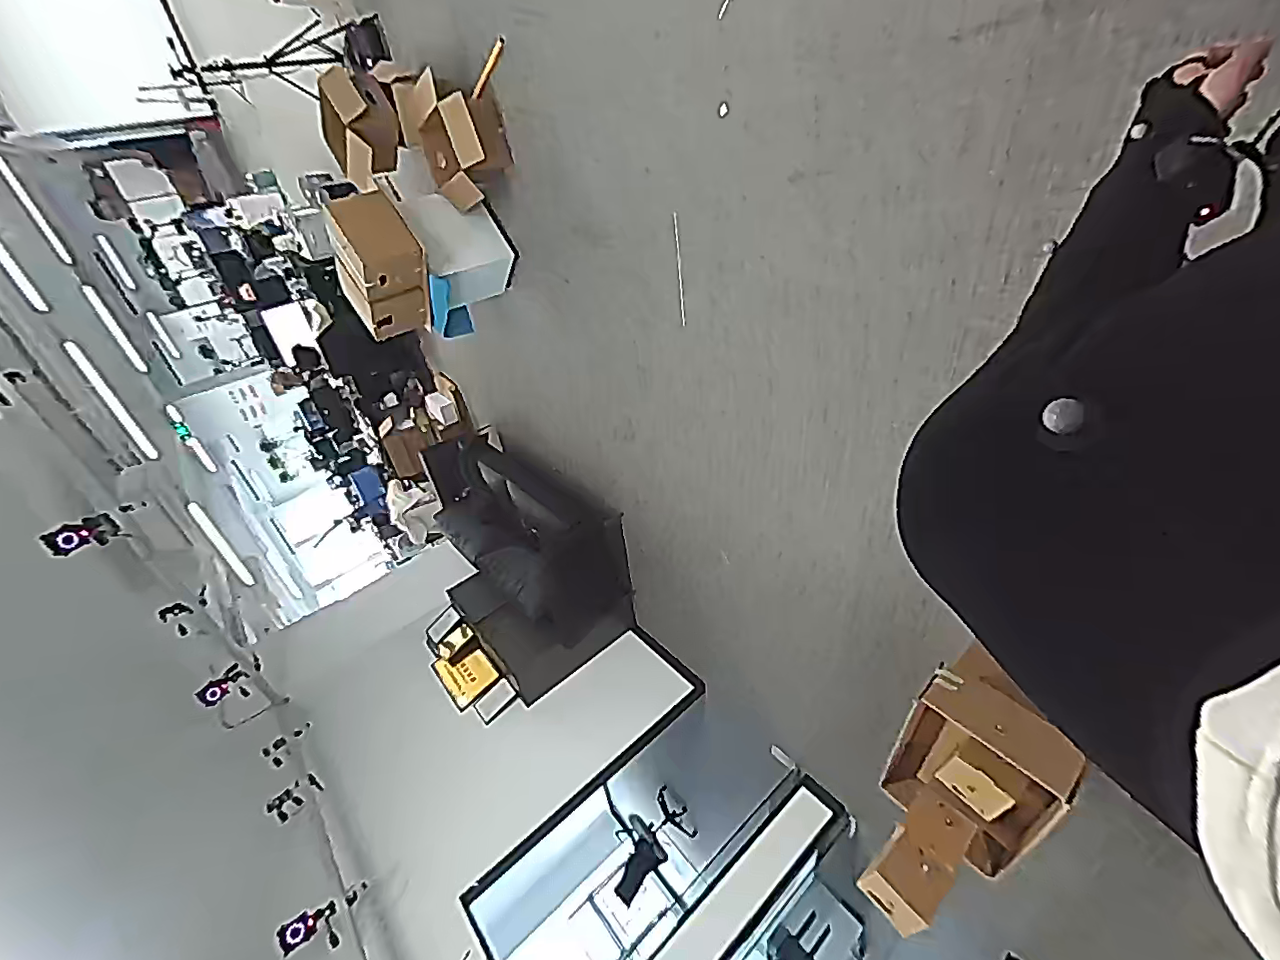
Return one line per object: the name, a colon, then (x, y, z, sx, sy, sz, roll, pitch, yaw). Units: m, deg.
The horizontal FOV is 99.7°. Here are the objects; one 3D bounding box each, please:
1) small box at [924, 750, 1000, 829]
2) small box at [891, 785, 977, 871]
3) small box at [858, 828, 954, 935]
small box: (1.015, 1.017, 1.733, 0.168, 0.176, 0.179, 32, 139, 39)
small box: (0.893, 1.085, 1.650, 0.168, 0.176, 0.179, 32, 139, 40)
small box: (0.772, 1.161, 1.568, 0.168, 0.176, 0.179, 39, 143, 32)
